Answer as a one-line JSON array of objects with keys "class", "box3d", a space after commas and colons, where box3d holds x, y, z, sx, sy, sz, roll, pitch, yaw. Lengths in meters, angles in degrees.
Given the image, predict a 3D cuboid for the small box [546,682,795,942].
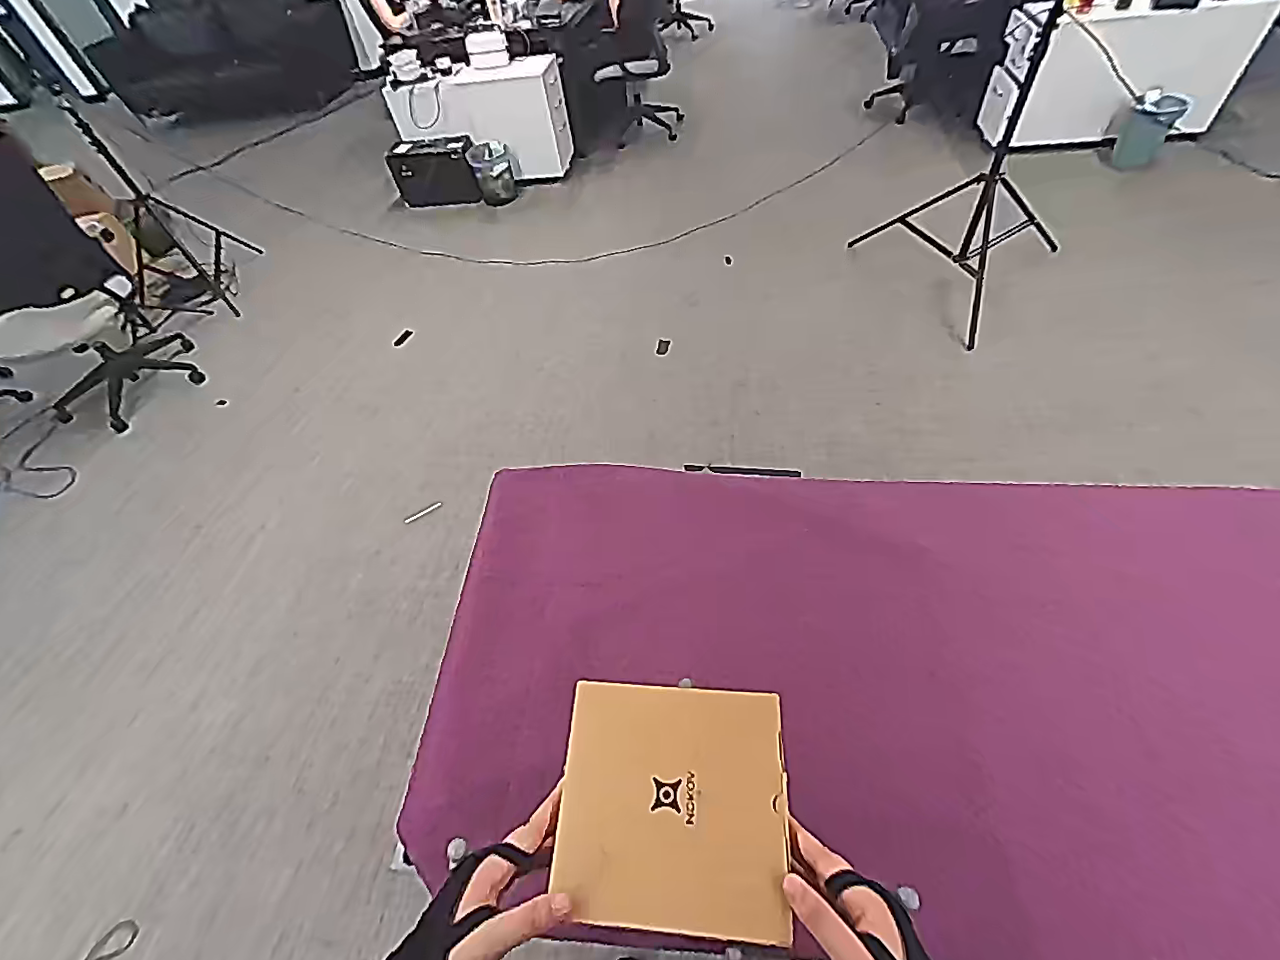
[{"class": "small box", "box3d": [0.029, 0.292, 0.481, 0.179, 0.176, 0.168, 2, 54, 4]}]
